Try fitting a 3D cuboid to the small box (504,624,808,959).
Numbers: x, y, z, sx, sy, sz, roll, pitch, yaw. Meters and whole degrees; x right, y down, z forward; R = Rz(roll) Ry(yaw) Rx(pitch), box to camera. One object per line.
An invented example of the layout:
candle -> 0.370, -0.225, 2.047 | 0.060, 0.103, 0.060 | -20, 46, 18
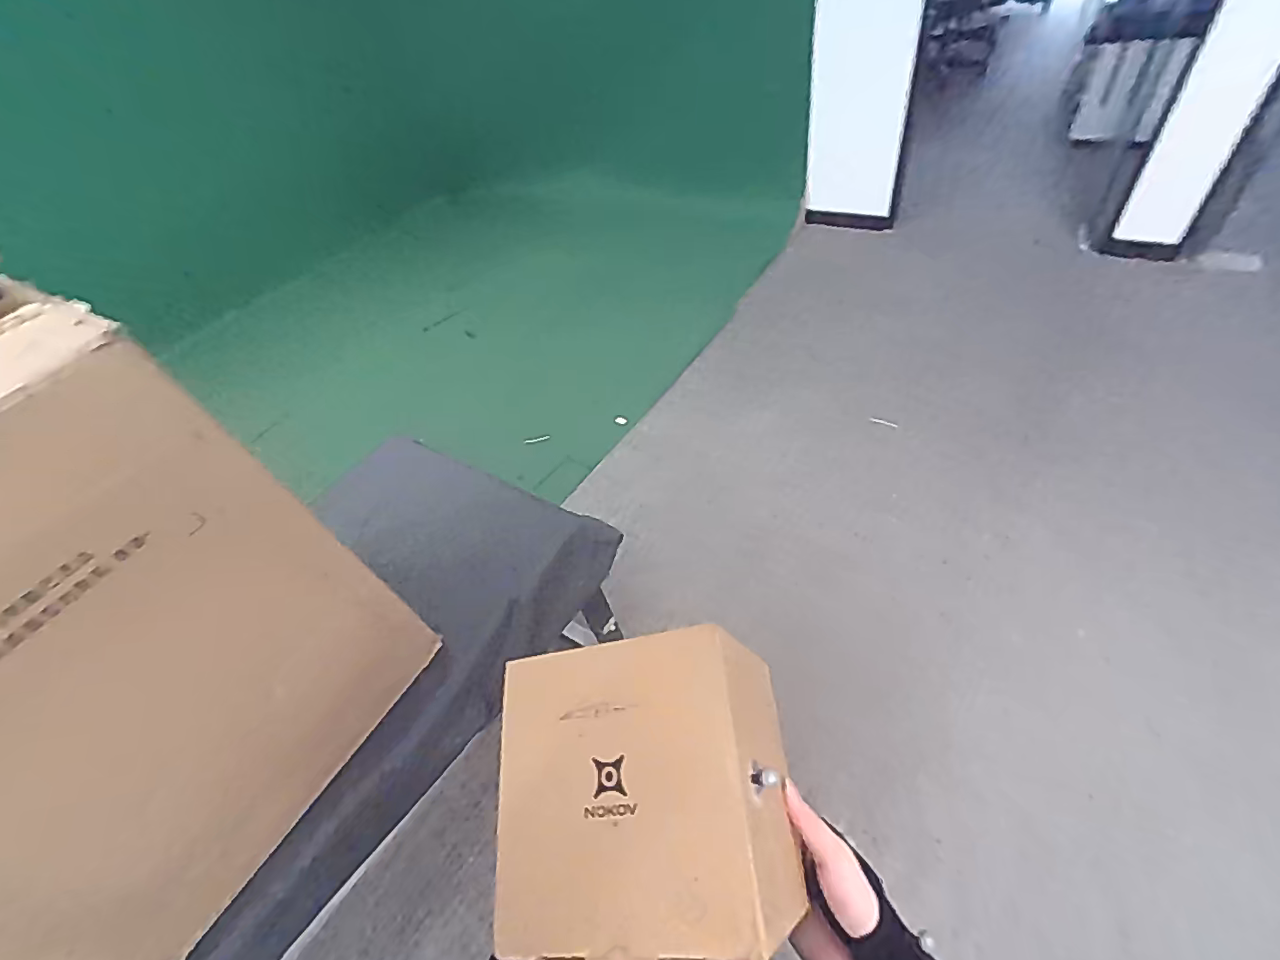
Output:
small box -> 0.018, 0.225, 0.406 | 0.168, 0.176, 0.179 | -16, 57, 17
